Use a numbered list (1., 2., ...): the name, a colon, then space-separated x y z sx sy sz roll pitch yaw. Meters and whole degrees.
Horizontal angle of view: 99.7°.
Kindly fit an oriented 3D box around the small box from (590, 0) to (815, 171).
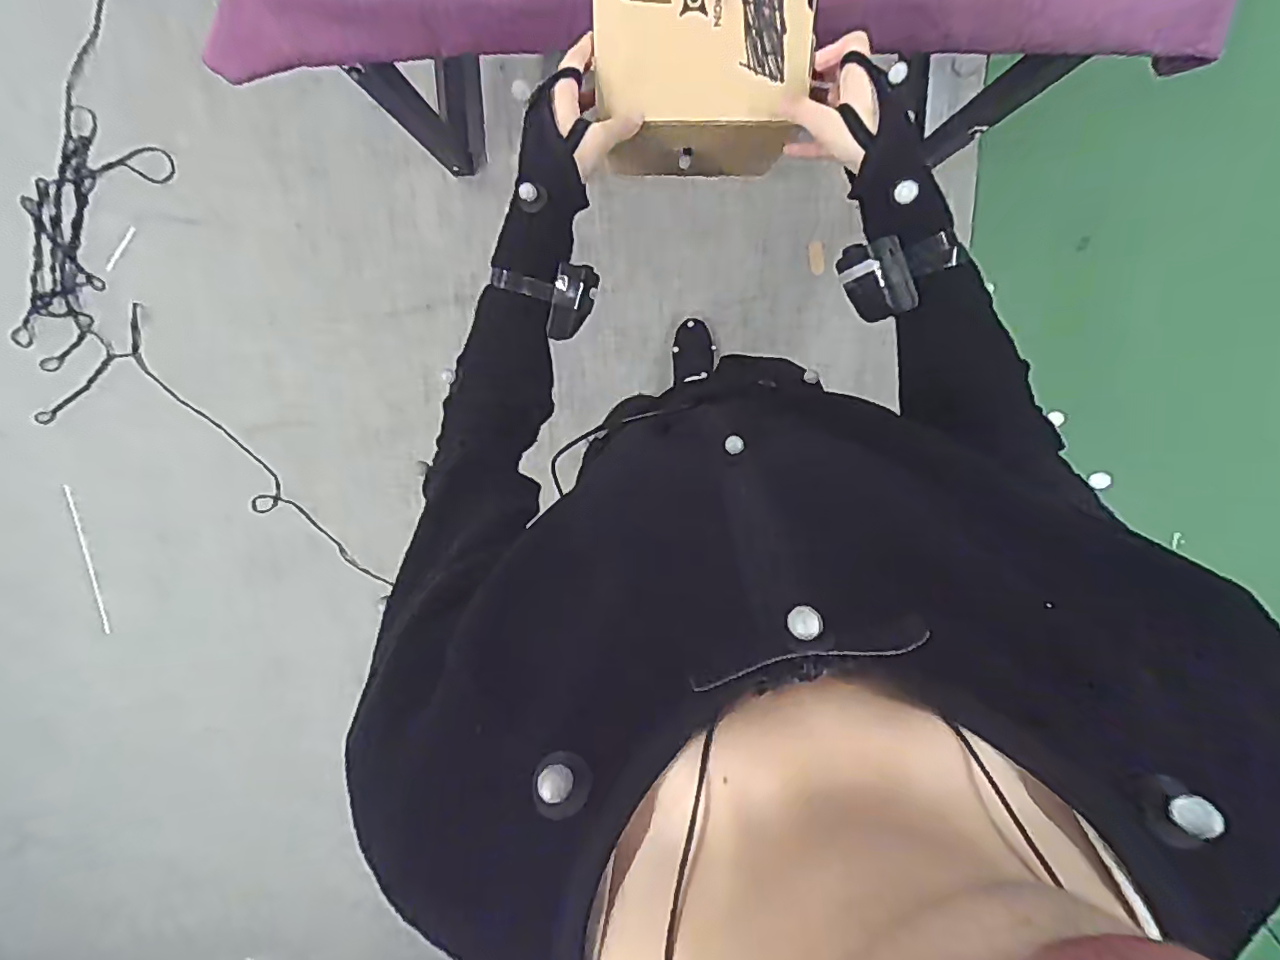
1. small box: 0.050 -0.395 0.490 0.179 0.176 0.168 1 106 2
